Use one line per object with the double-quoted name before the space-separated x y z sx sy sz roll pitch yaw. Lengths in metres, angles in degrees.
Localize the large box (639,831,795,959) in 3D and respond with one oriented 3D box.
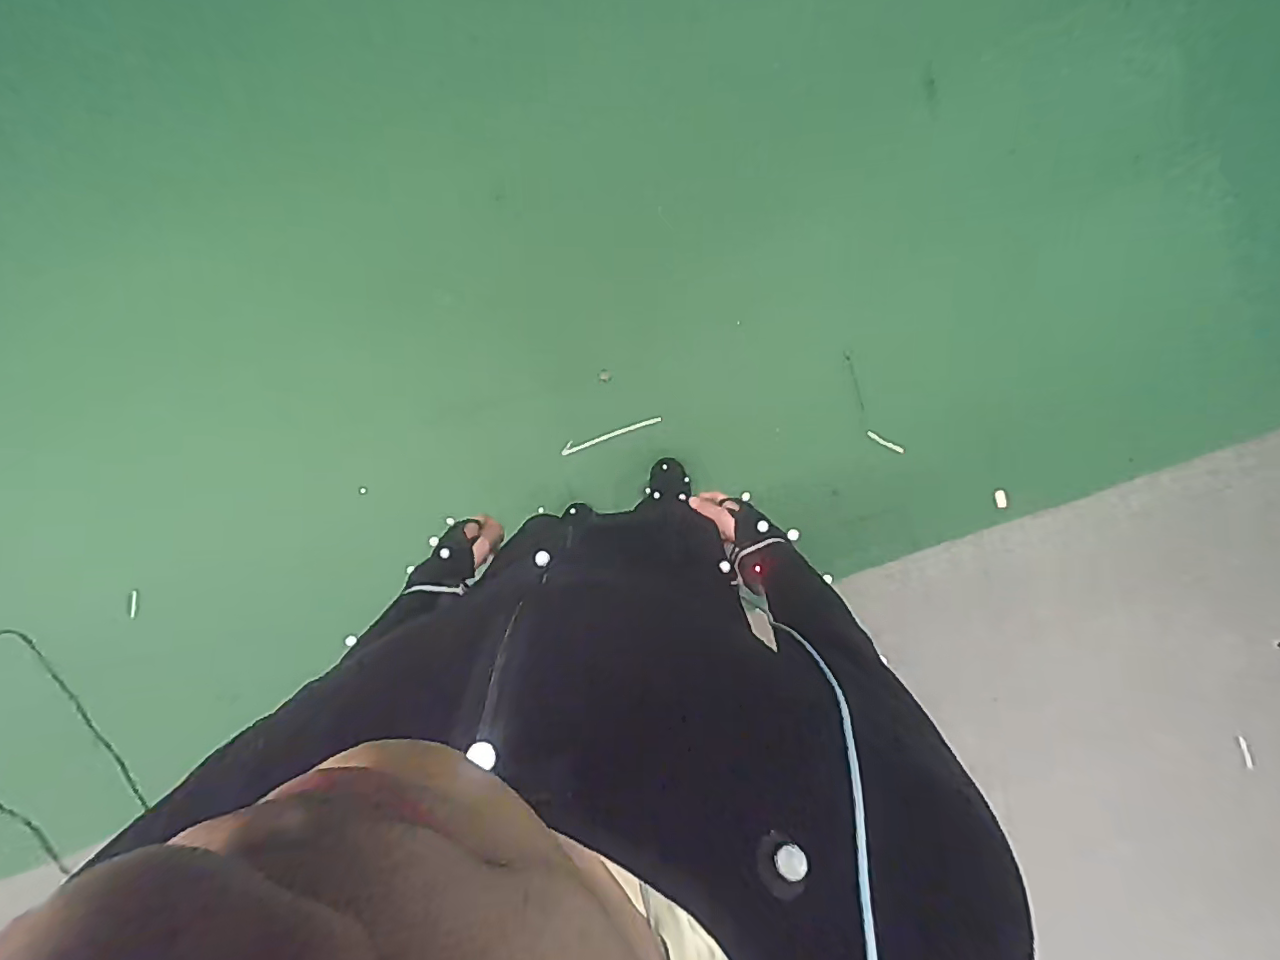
"large box" 0.205 1.256 1.548 0.408 0.320 0.320 -1 93 2
